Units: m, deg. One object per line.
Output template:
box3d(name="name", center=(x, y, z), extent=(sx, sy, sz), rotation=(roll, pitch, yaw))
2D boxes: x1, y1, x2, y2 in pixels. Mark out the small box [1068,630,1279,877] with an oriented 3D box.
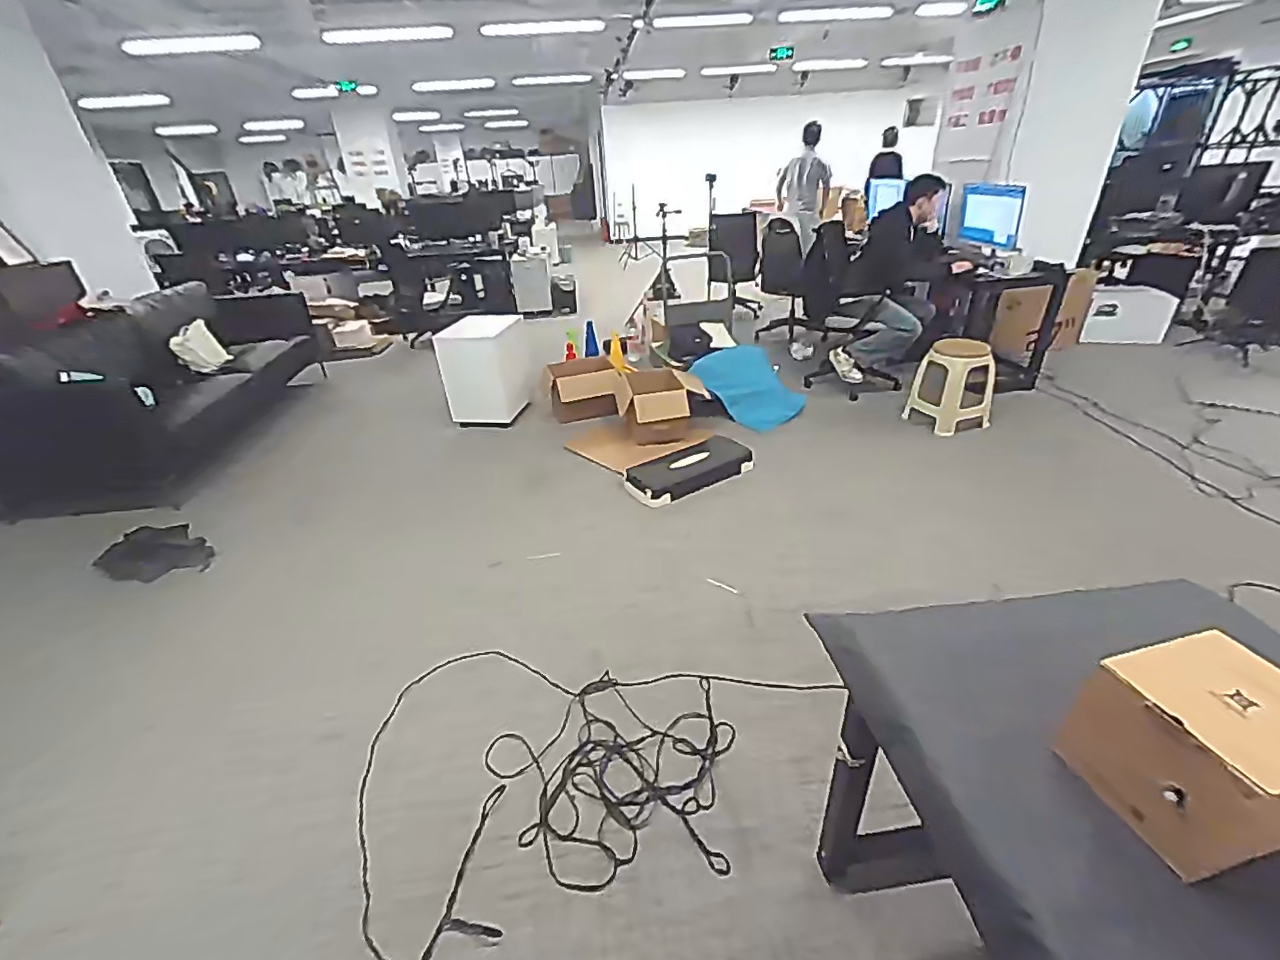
box3d(name="small box", center=(0.631, 0.300, 0.604), extent=(0.179, 0.176, 0.168), rotation=(-8, 31, -11))
